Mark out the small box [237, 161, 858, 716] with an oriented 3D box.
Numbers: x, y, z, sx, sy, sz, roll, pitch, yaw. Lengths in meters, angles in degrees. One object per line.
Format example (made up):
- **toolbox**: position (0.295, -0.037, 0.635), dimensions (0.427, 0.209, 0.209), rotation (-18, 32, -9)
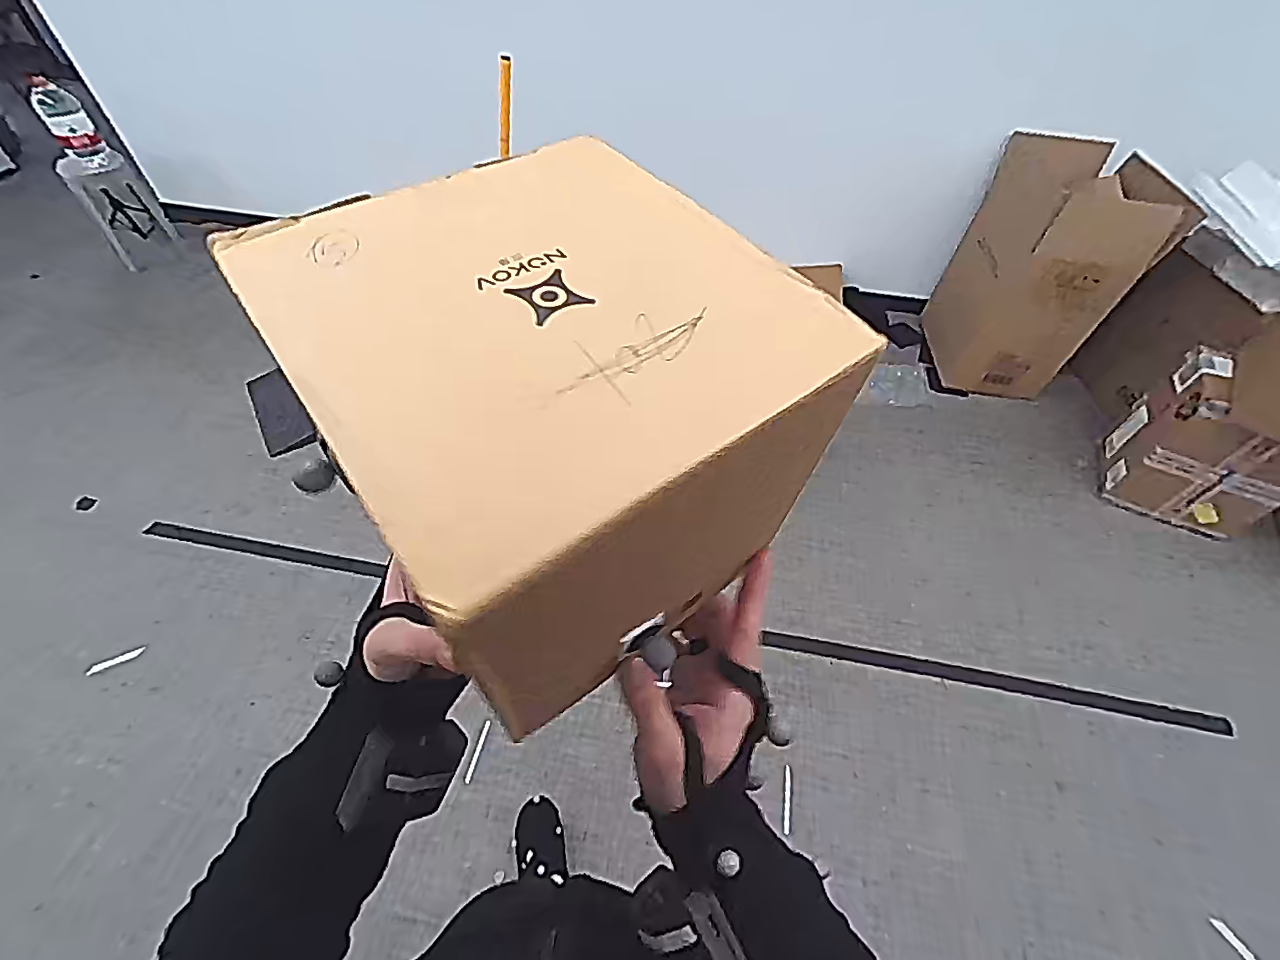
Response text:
- **small box**: position (-0.041, -0.015, 0.266), dimensions (0.168, 0.176, 0.179), rotation (-35, 66, -24)
